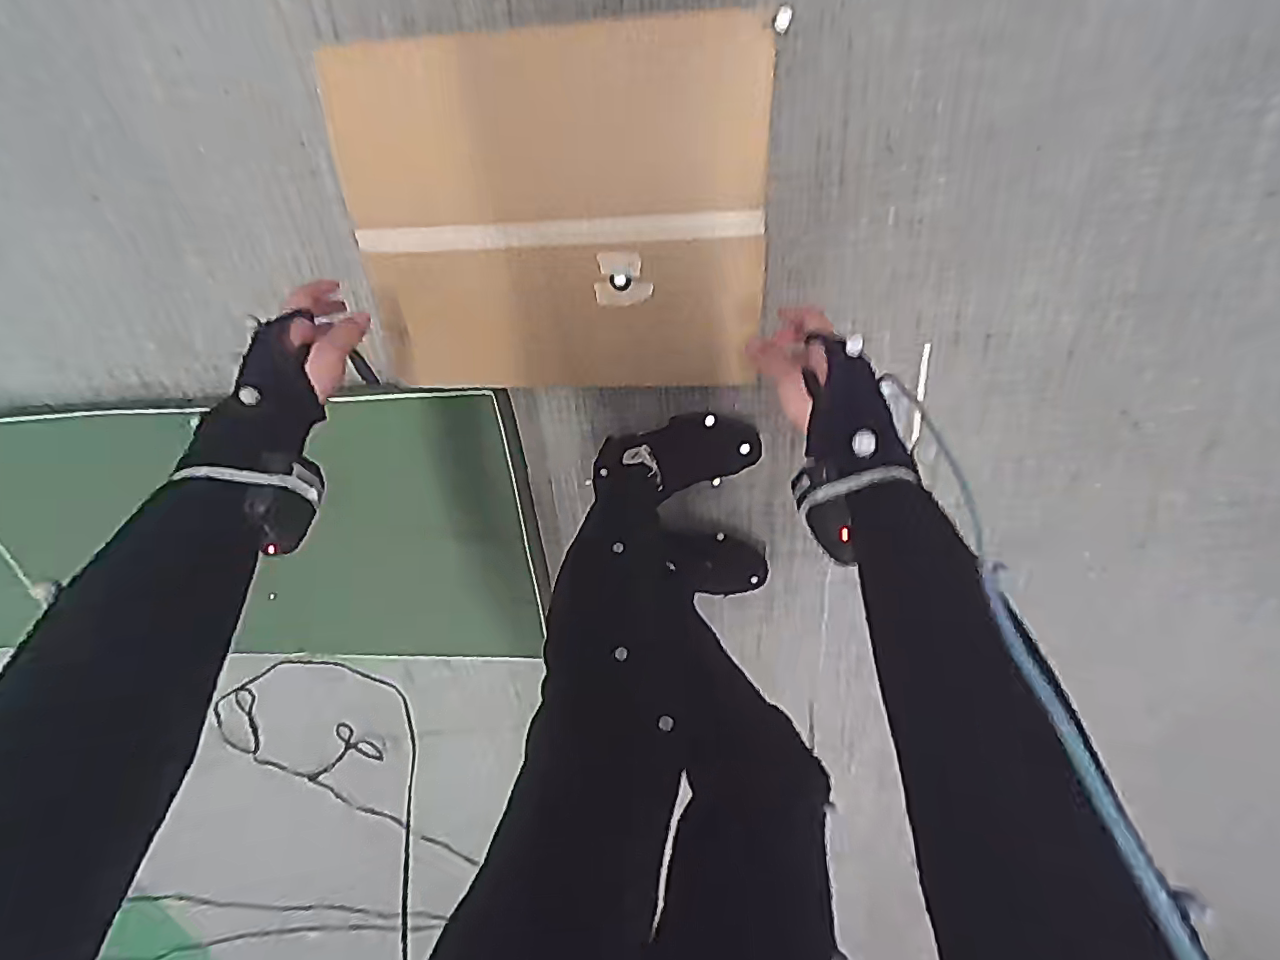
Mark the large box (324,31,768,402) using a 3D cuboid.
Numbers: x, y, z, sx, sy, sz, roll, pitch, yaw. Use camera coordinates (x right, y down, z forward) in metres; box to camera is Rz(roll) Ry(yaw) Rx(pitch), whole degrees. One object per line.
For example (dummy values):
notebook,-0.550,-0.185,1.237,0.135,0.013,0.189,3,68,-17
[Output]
large box,-0.070,-0.296,0.663,0.408,0.320,0.320,0,118,6
